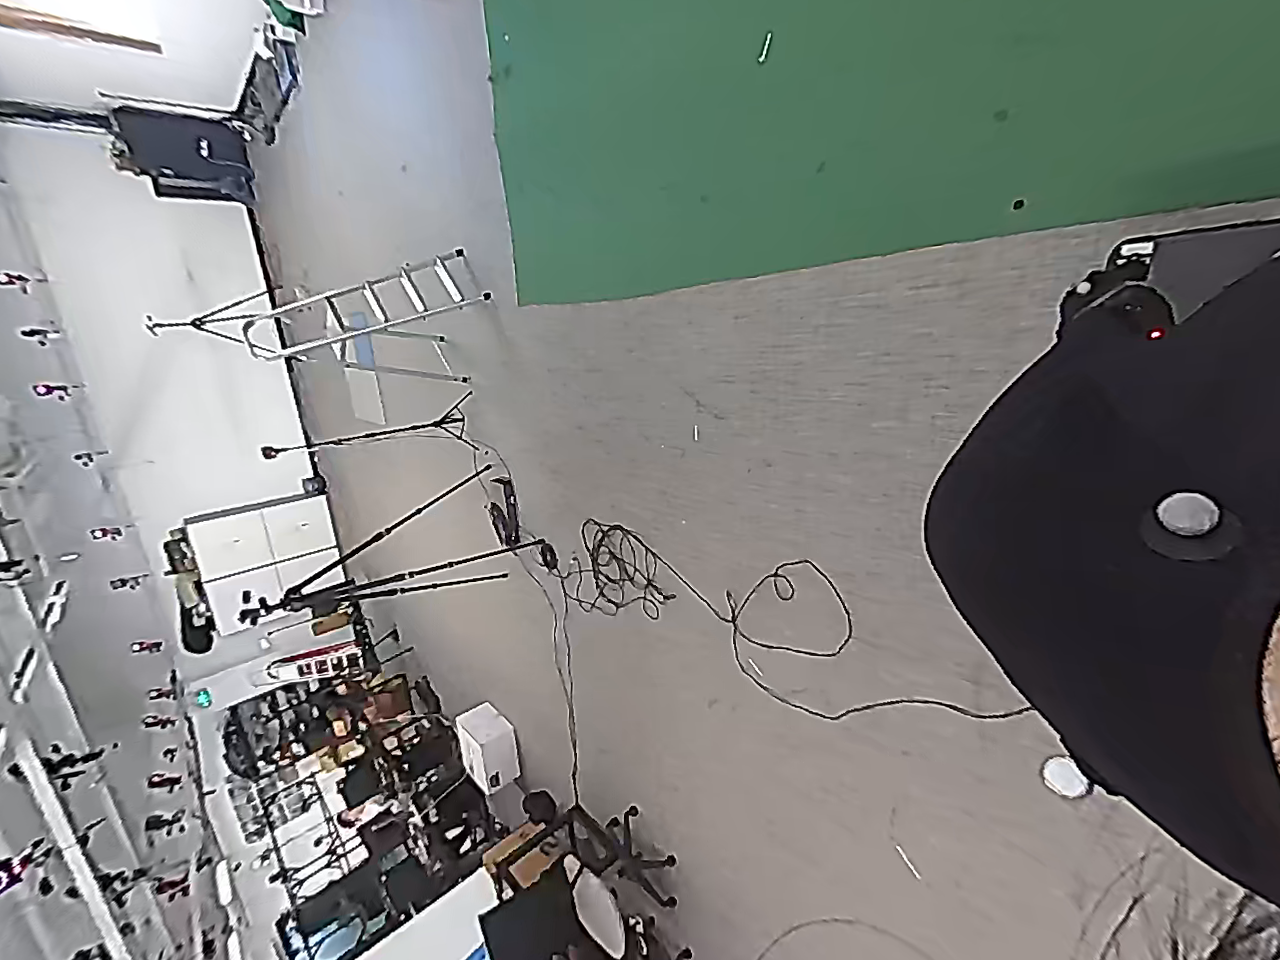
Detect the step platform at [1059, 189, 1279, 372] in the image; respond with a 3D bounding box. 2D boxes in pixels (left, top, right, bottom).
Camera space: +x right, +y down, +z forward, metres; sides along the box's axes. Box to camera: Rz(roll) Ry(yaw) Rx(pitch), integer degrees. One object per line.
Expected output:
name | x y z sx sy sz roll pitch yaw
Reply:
step platform | 1.098 -0.325 0.839 0.684 0.204 0.286 12 114 48
